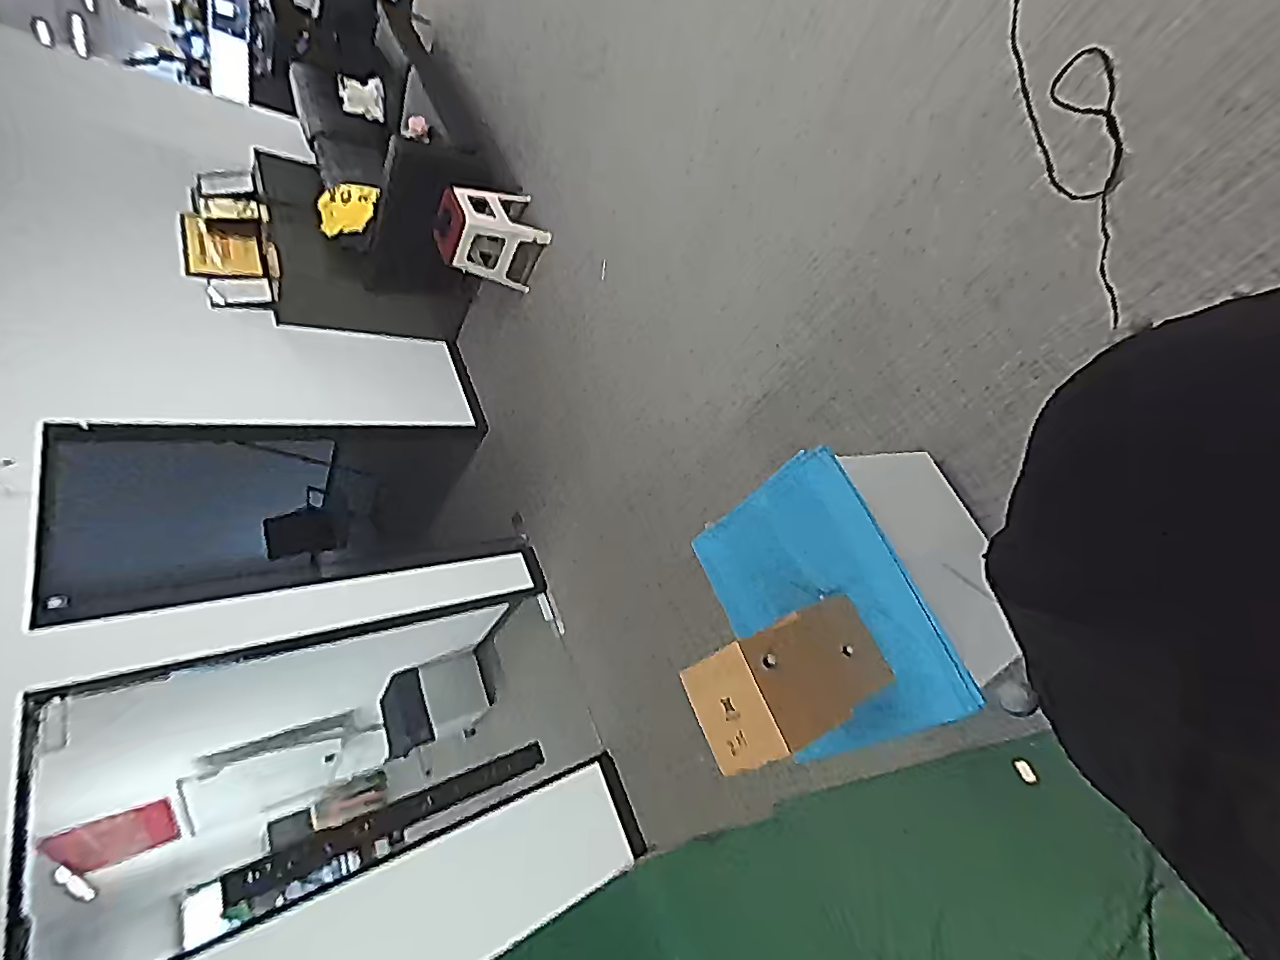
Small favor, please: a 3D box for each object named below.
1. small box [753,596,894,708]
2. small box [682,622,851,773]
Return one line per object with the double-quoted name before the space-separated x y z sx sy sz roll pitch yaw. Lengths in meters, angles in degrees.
"small box" 0.328 0.331 1.006 0.168 0.176 0.179 -48 59 42
"small box" 0.207 0.350 0.896 0.168 0.176 0.179 -48 59 42
